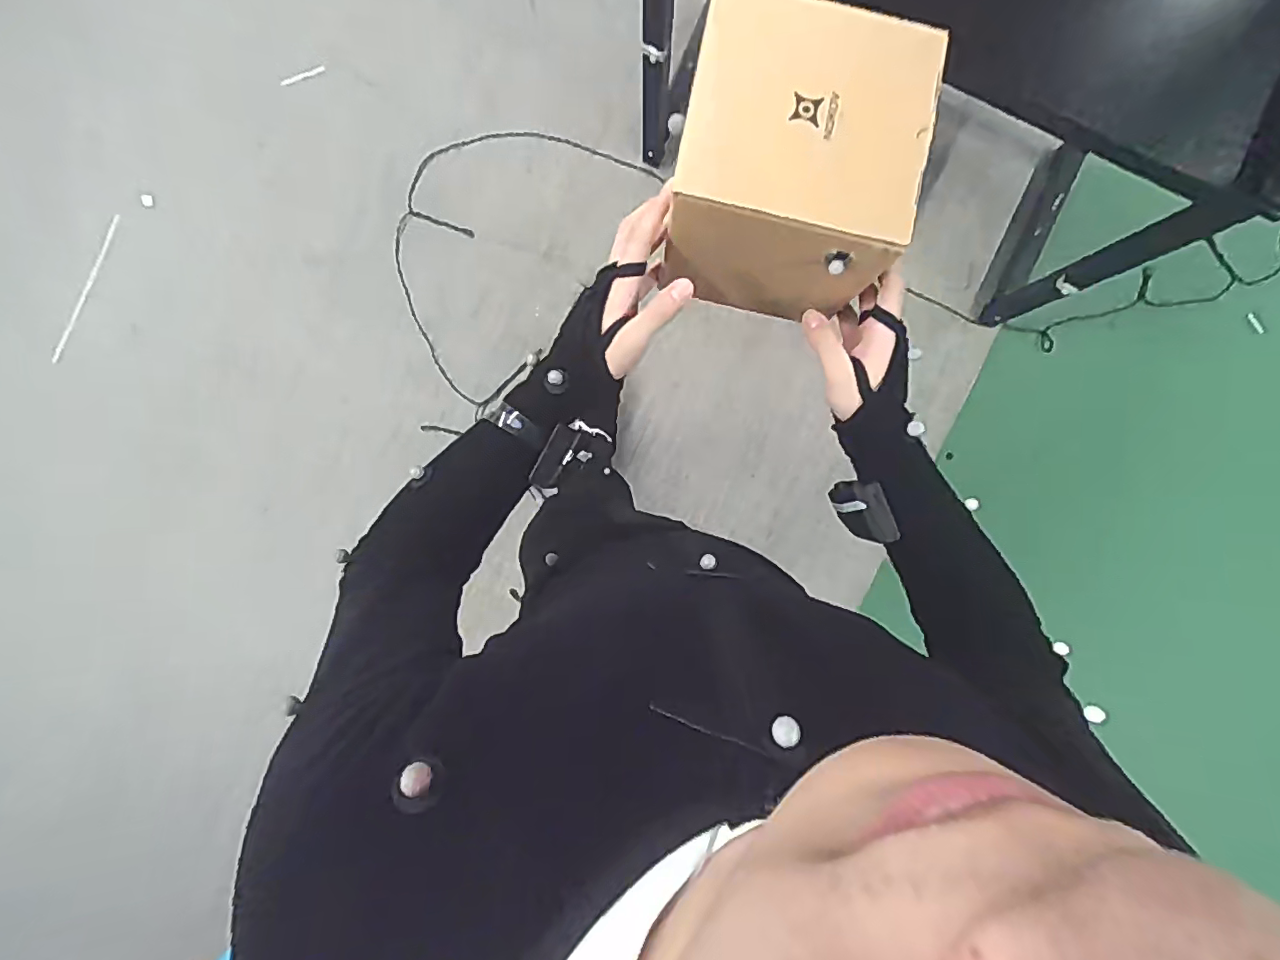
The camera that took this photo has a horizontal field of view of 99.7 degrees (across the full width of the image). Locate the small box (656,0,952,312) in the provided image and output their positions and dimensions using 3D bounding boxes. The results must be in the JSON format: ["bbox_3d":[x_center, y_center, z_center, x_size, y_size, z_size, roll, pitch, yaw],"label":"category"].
[{"bbox_3d":[0.114,-0.259,0.449,0.179,0.176,0.168,12,86,-2],"label":"small box"}]
